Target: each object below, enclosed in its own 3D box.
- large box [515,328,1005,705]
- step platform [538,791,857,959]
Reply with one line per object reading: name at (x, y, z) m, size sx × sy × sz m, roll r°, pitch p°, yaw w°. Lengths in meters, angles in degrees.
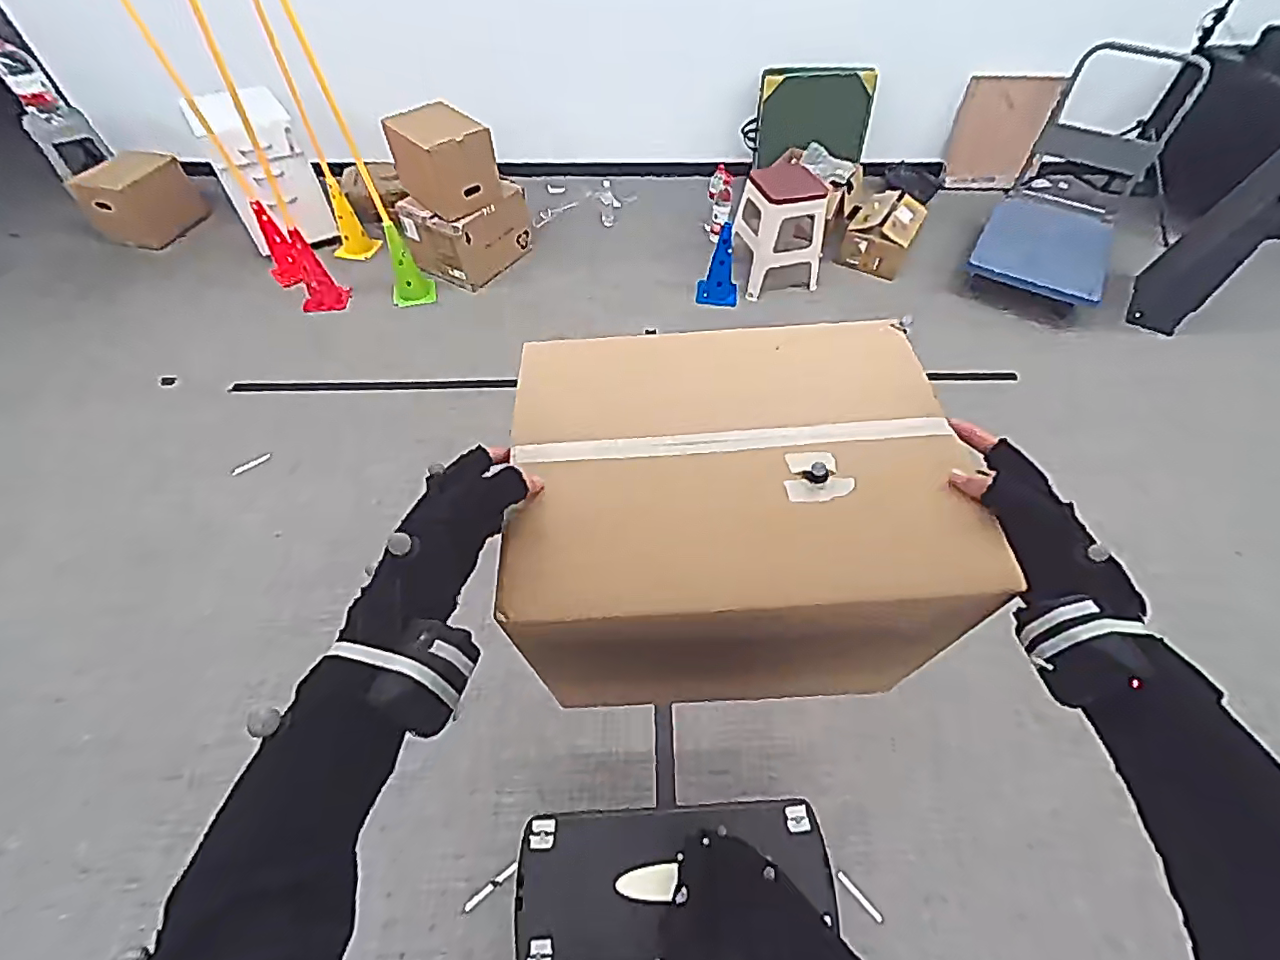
large box at (0.090, 0.055, 0.634) m, size 0.408 × 0.320 × 0.320 m, roll -4°, pitch 56°, yaw 0°
step platform at (0.117, 0.886, 1.214) m, size 0.684 × 0.204 × 0.286 m, roll -3°, pitch 53°, yaw -4°
